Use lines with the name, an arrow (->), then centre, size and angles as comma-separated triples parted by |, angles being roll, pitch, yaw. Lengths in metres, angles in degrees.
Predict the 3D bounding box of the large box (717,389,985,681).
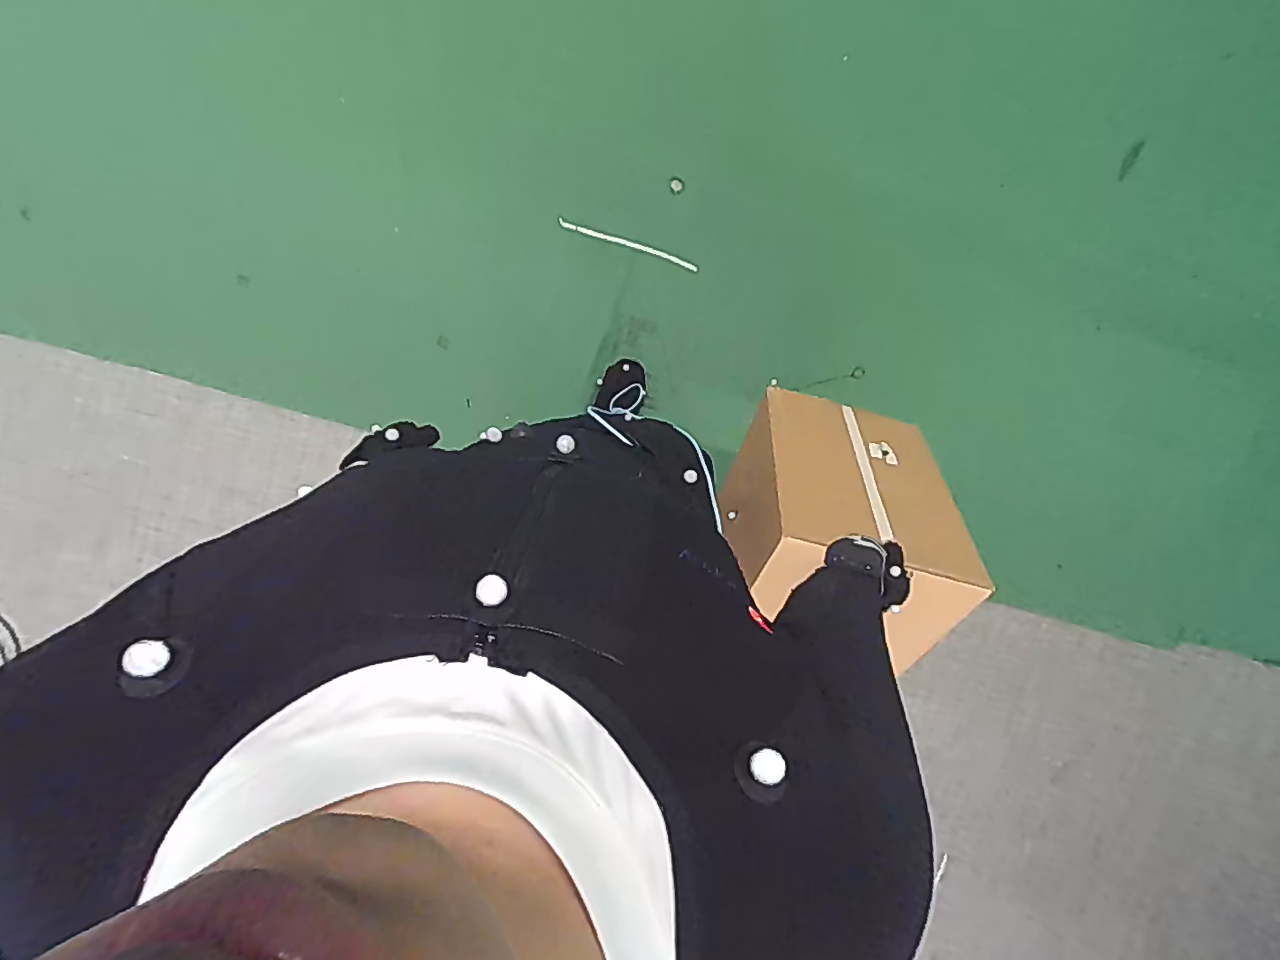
large box -> 0.335, 0.095, 1.005 | 0.320, 0.408, 0.320 | 15, 130, -4
